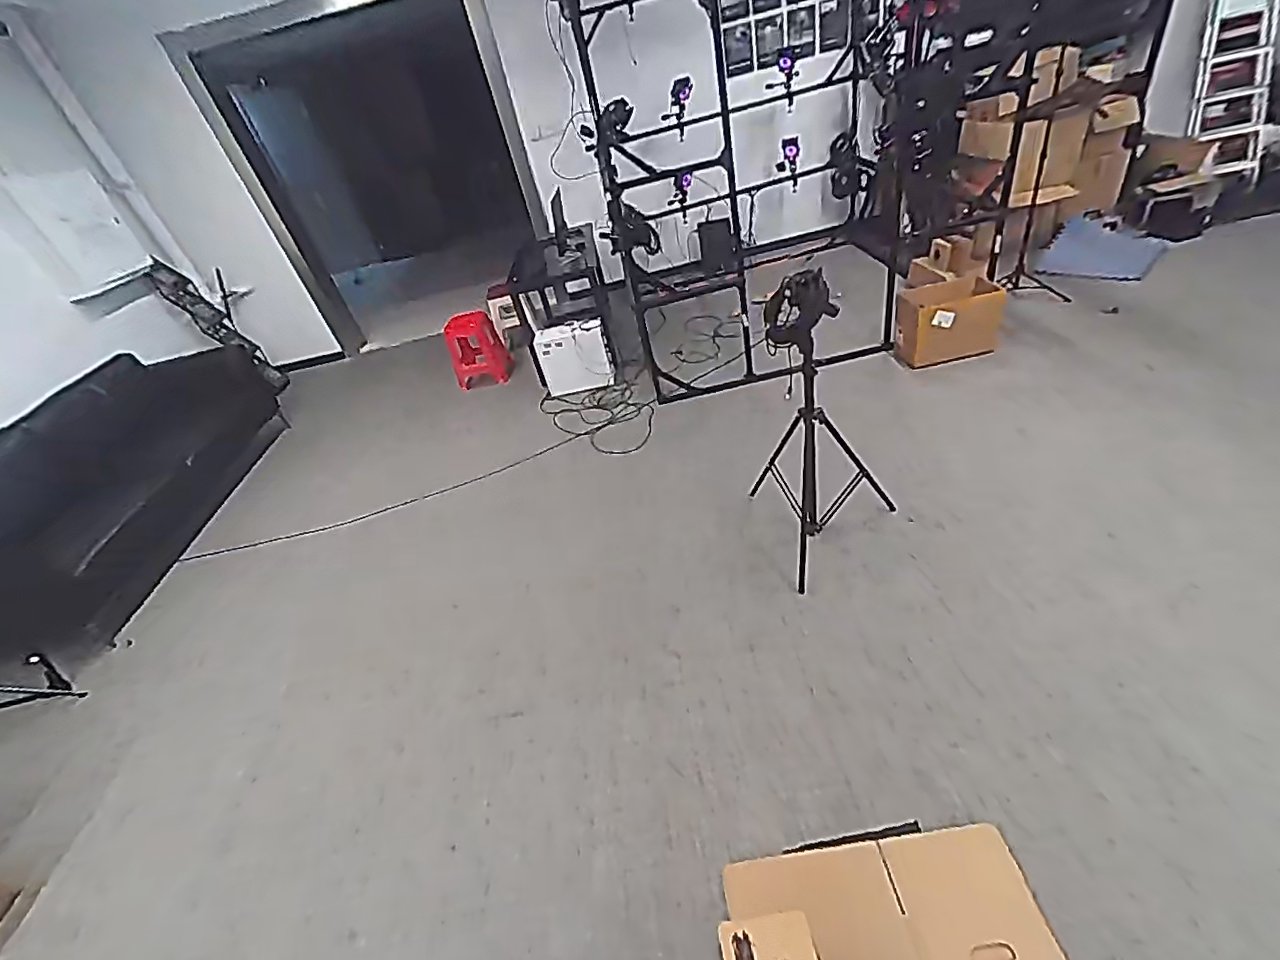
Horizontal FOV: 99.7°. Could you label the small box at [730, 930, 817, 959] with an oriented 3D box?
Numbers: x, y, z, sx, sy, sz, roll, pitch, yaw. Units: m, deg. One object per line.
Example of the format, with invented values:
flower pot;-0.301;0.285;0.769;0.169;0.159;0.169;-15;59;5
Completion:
small box;0.297;1.080;1.136;0.179;0.176;0.168;-13;37;5
